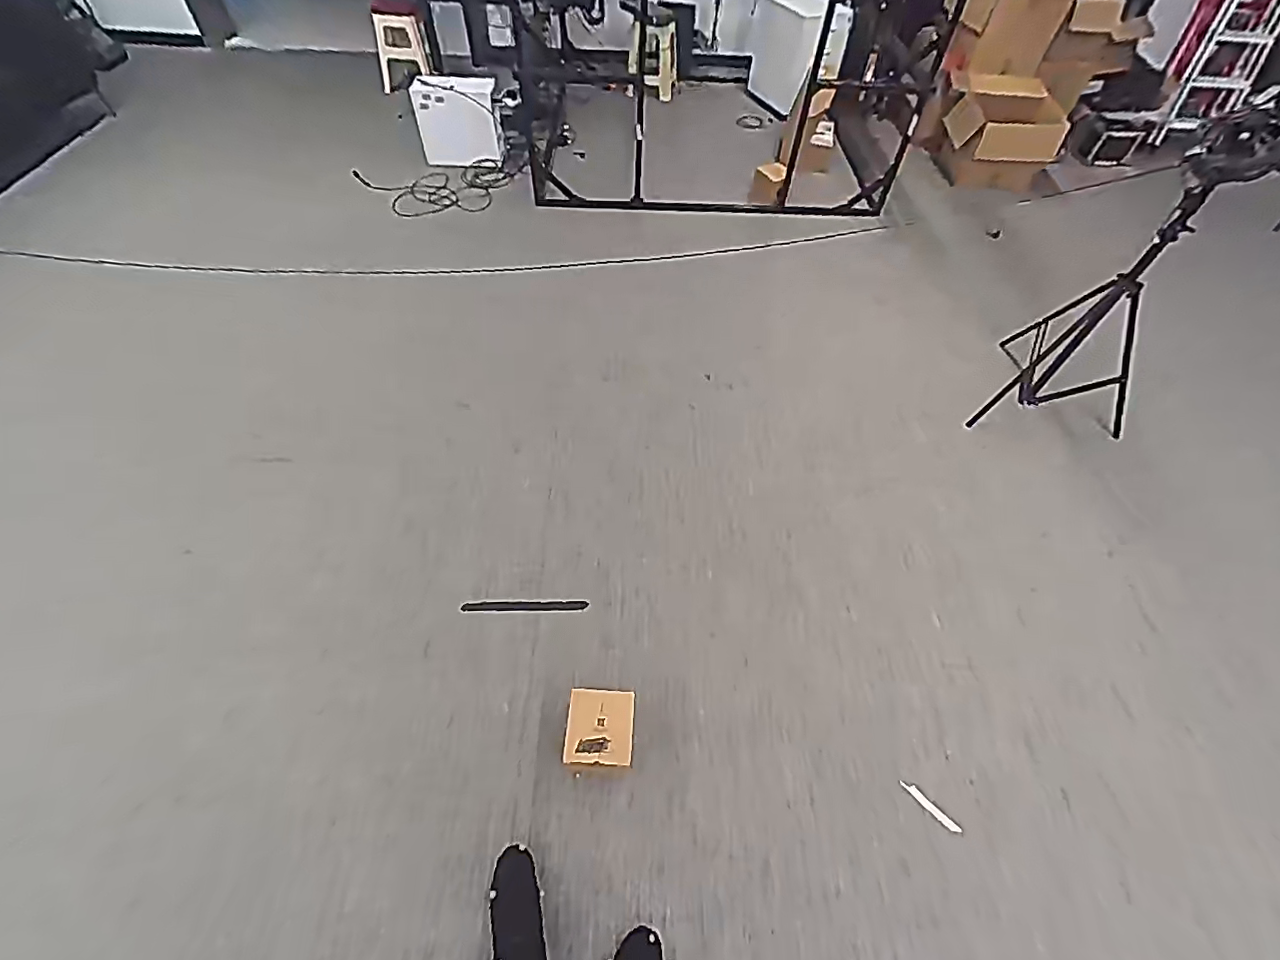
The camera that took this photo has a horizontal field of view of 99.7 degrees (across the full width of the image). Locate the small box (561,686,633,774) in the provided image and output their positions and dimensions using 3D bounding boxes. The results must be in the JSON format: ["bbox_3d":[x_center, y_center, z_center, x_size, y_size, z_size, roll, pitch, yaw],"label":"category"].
[{"bbox_3d":[-0.106,0.655,1.407,0.168,0.176,0.179,4,53,0],"label":"small box"}]
